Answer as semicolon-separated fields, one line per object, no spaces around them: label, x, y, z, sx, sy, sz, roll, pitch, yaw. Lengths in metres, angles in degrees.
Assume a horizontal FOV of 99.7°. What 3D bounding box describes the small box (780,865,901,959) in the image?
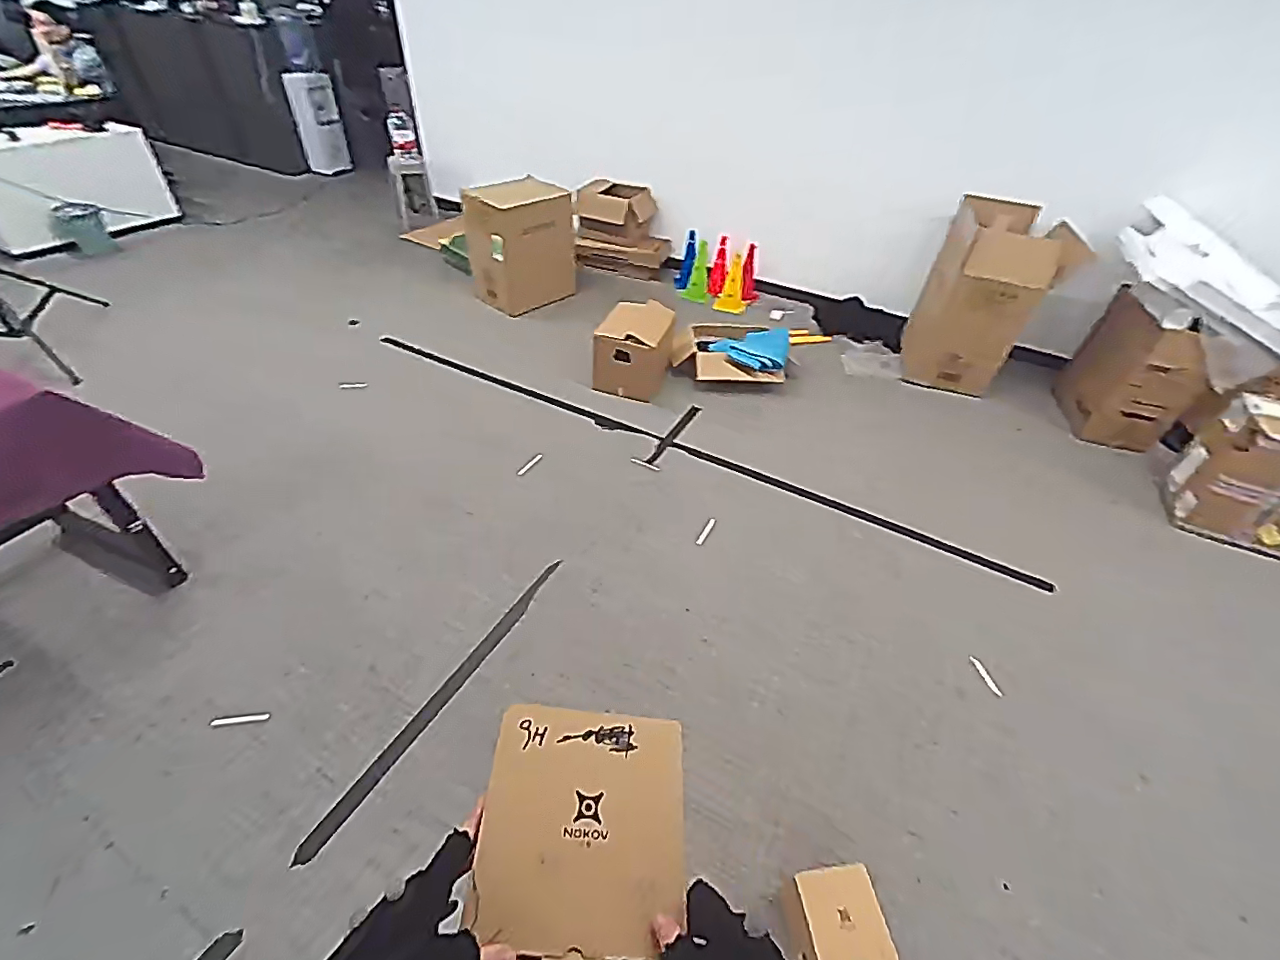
small box;0.417;0.955;1.151;0.168;0.176;0.179;-2;41;-9
